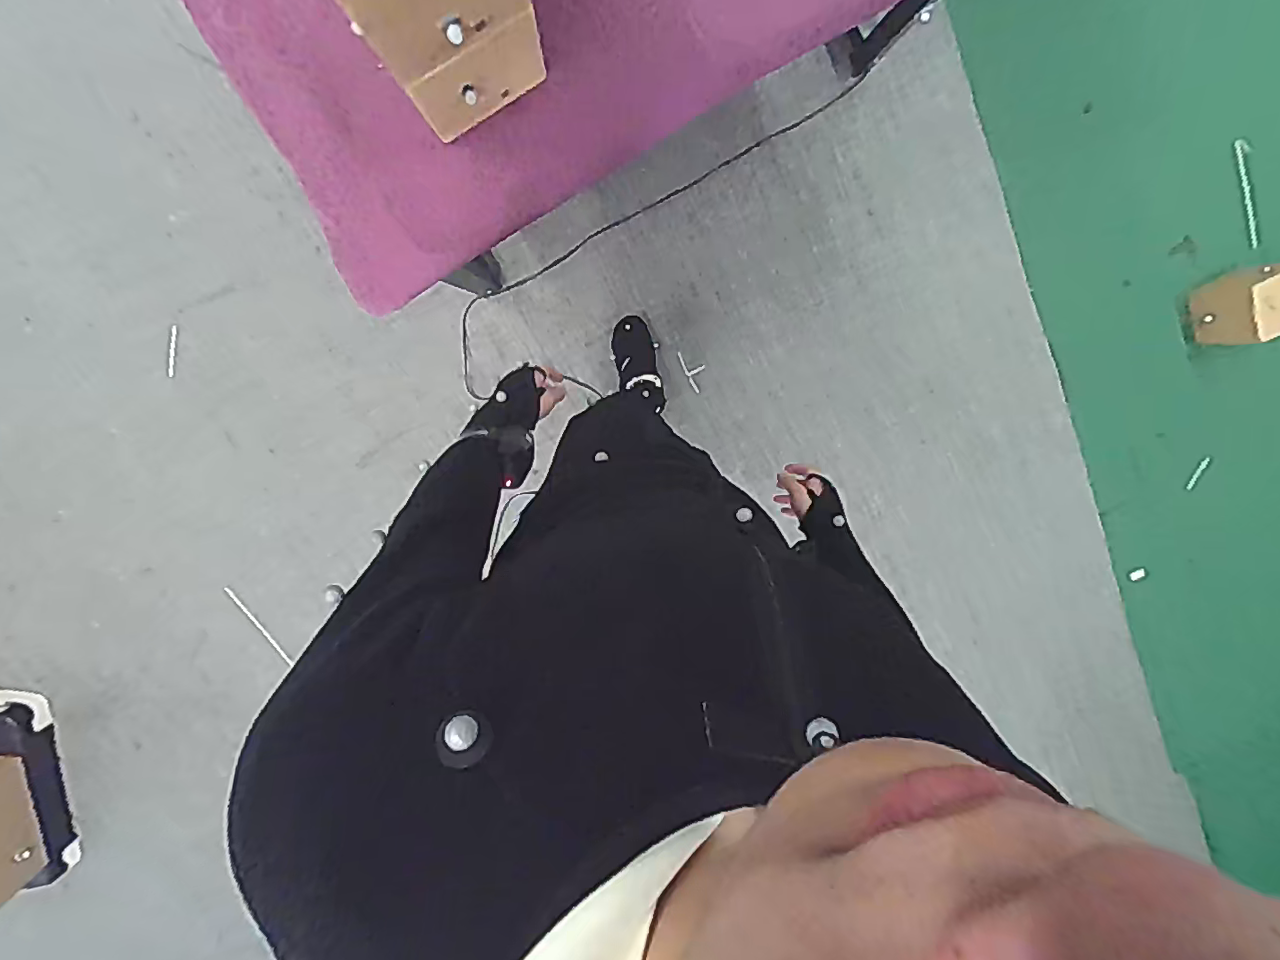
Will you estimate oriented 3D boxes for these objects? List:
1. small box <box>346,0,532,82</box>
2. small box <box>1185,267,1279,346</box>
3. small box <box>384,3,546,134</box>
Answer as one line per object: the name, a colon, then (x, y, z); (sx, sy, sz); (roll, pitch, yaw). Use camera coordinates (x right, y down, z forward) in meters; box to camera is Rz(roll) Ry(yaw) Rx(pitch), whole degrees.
small box: (-0.215, -0.512, 0.477); (0.168, 0.176, 0.179); (-30, 104, 3)
small box: (1.738, -0.497, 1.549); (0.179, 0.176, 0.168); (-26, 104, 2)
small box: (-0.227, -0.547, 0.637); (0.168, 0.176, 0.179); (-31, 103, 3)
